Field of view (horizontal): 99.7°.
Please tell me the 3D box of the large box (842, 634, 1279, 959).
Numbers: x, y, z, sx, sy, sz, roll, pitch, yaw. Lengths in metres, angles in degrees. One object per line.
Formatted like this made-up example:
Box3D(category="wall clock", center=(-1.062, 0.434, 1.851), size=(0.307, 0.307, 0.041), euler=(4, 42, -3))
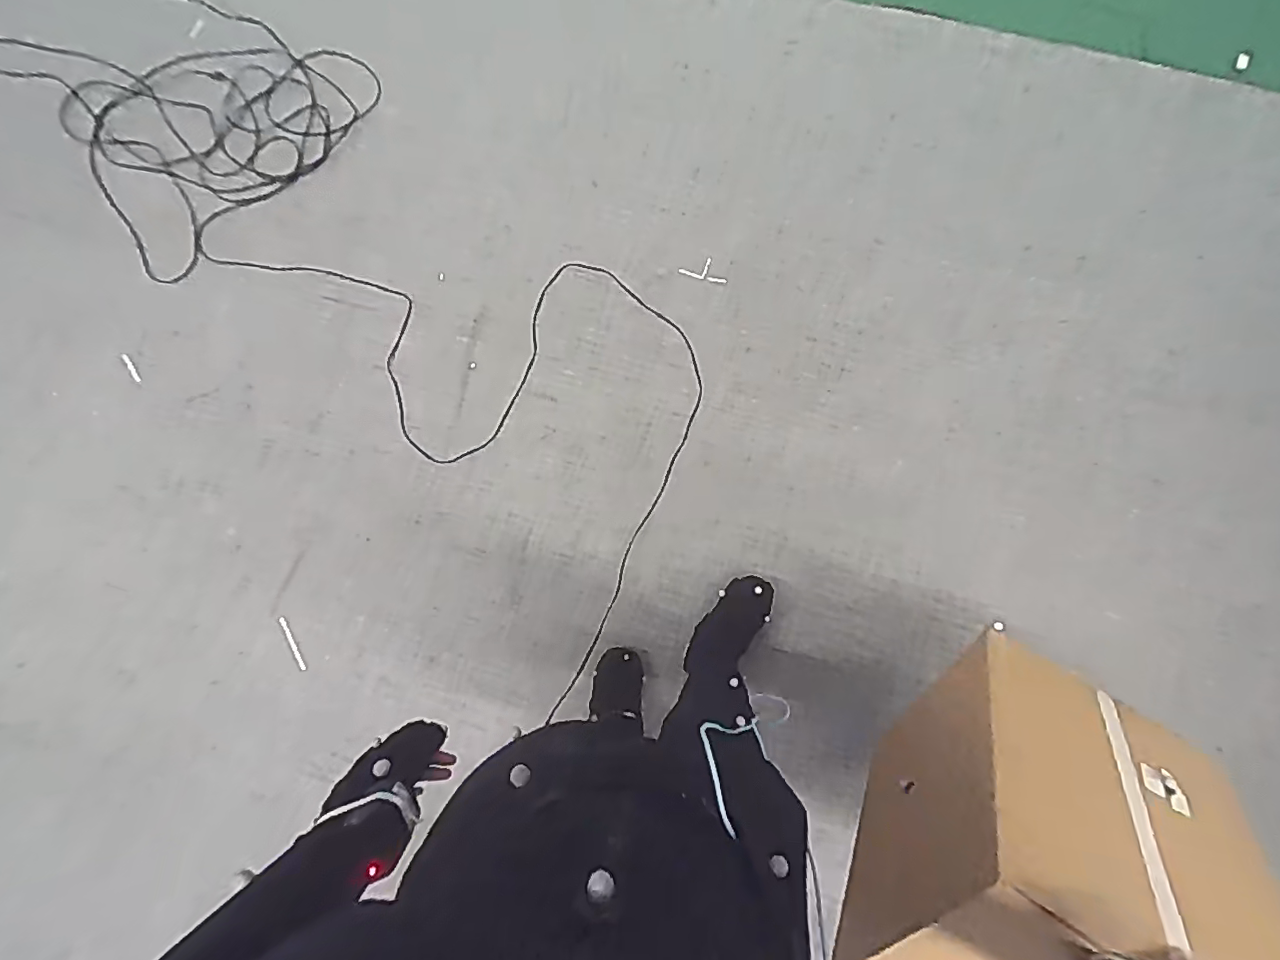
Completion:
Box3D(category="large box", center=(0.493, 0.490, 0.680), size=(0.320, 0.408, 0.320), euler=(32, 122, 16))
